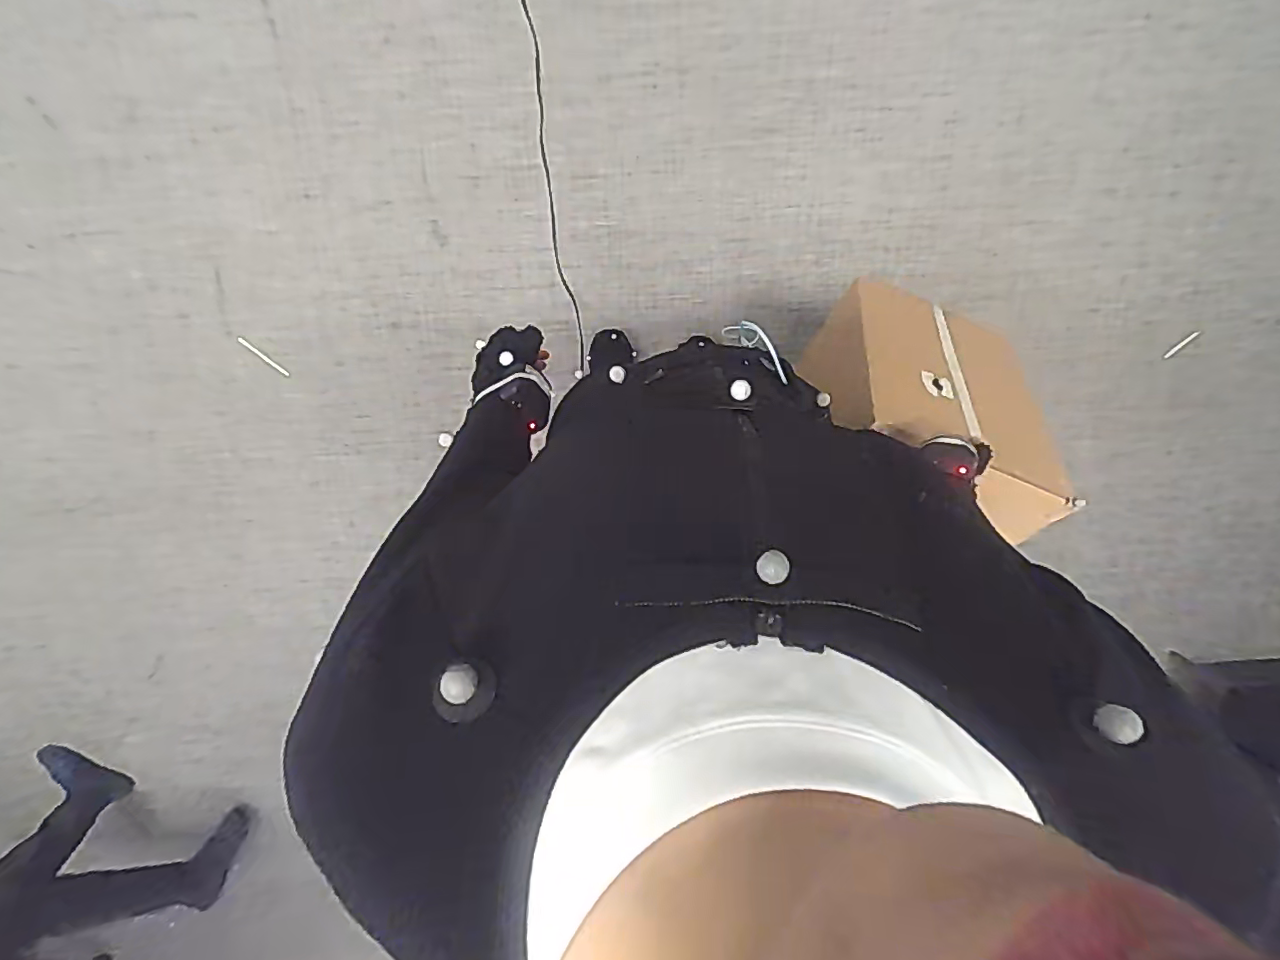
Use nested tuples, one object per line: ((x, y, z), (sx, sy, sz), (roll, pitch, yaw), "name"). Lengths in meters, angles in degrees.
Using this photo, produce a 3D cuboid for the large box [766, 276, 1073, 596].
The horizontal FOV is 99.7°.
((0.433, -0.075, 0.949), (0.320, 0.408, 0.320), (20, 139, -6), "large box")
